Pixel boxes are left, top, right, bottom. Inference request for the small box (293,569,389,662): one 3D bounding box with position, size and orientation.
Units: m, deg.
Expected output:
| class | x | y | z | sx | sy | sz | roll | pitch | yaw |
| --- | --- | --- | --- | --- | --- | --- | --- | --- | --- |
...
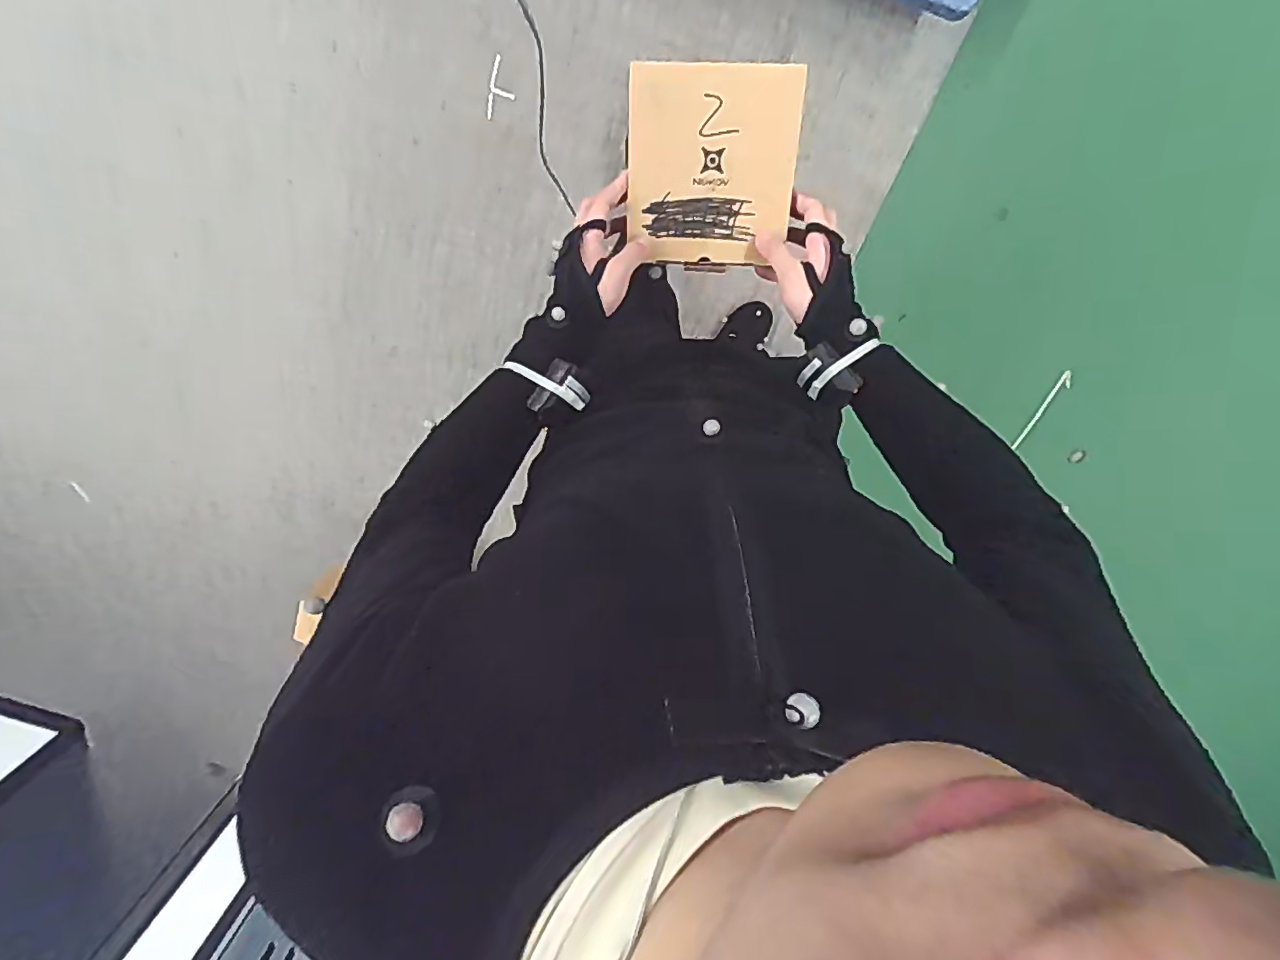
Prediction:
| class | x | y | z | sx | sy | sz | roll | pitch | yaw |
| --- | --- | --- | --- | --- | --- | --- | --- | --- | --- |
| small box | -0.864 | 0.389 | 1.575 | 0.179 | 0.176 | 0.168 | 25 | 116 | -6 |
